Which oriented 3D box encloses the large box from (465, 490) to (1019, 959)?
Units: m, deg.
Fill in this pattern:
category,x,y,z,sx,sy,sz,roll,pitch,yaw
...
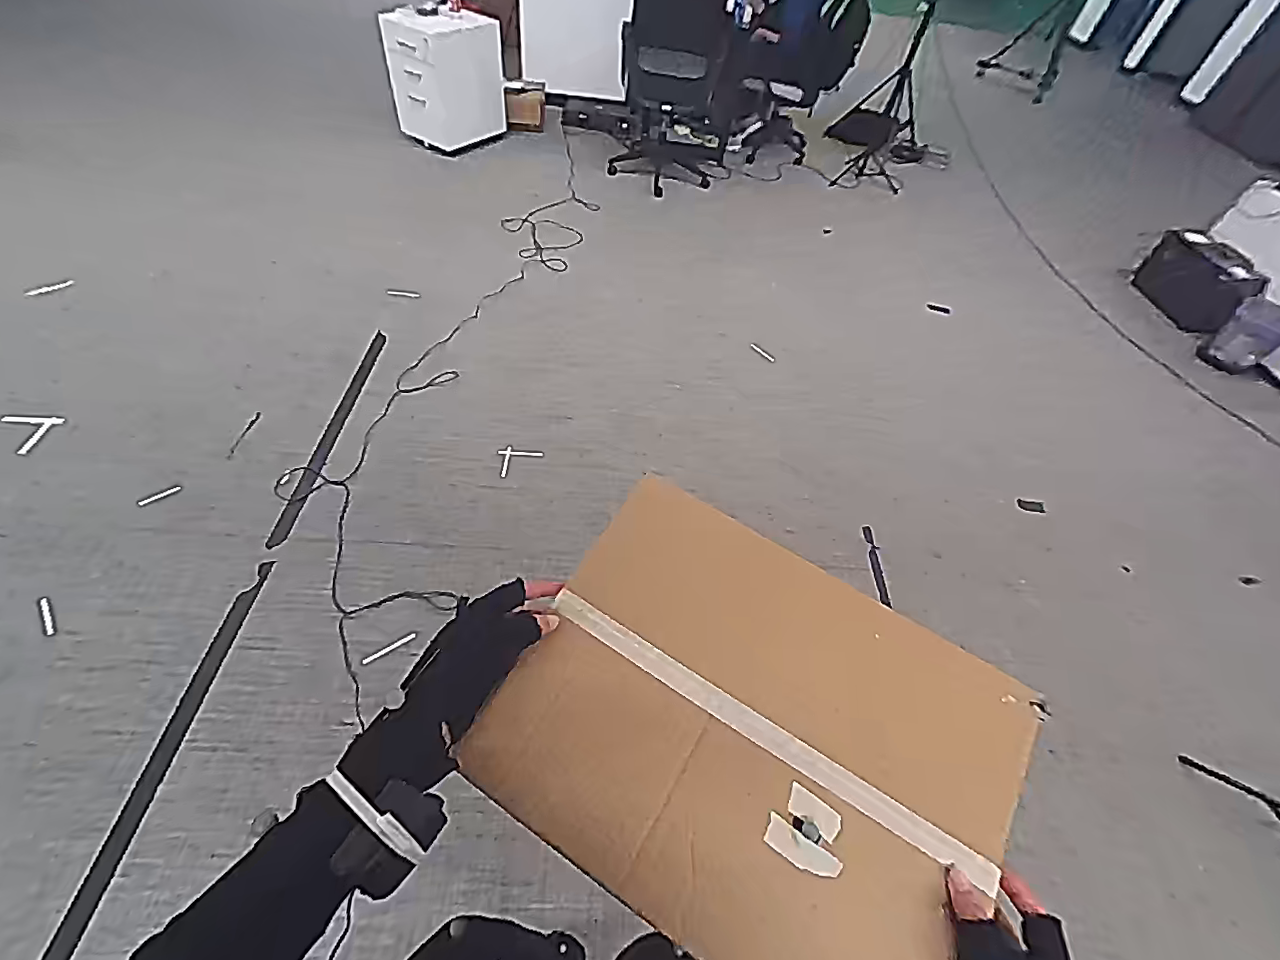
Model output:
category,x,y,z,sx,sy,sz,roll,pitch,yaw
large box,0.090,0.282,0.601,0.408,0.320,0.320,31,66,12
